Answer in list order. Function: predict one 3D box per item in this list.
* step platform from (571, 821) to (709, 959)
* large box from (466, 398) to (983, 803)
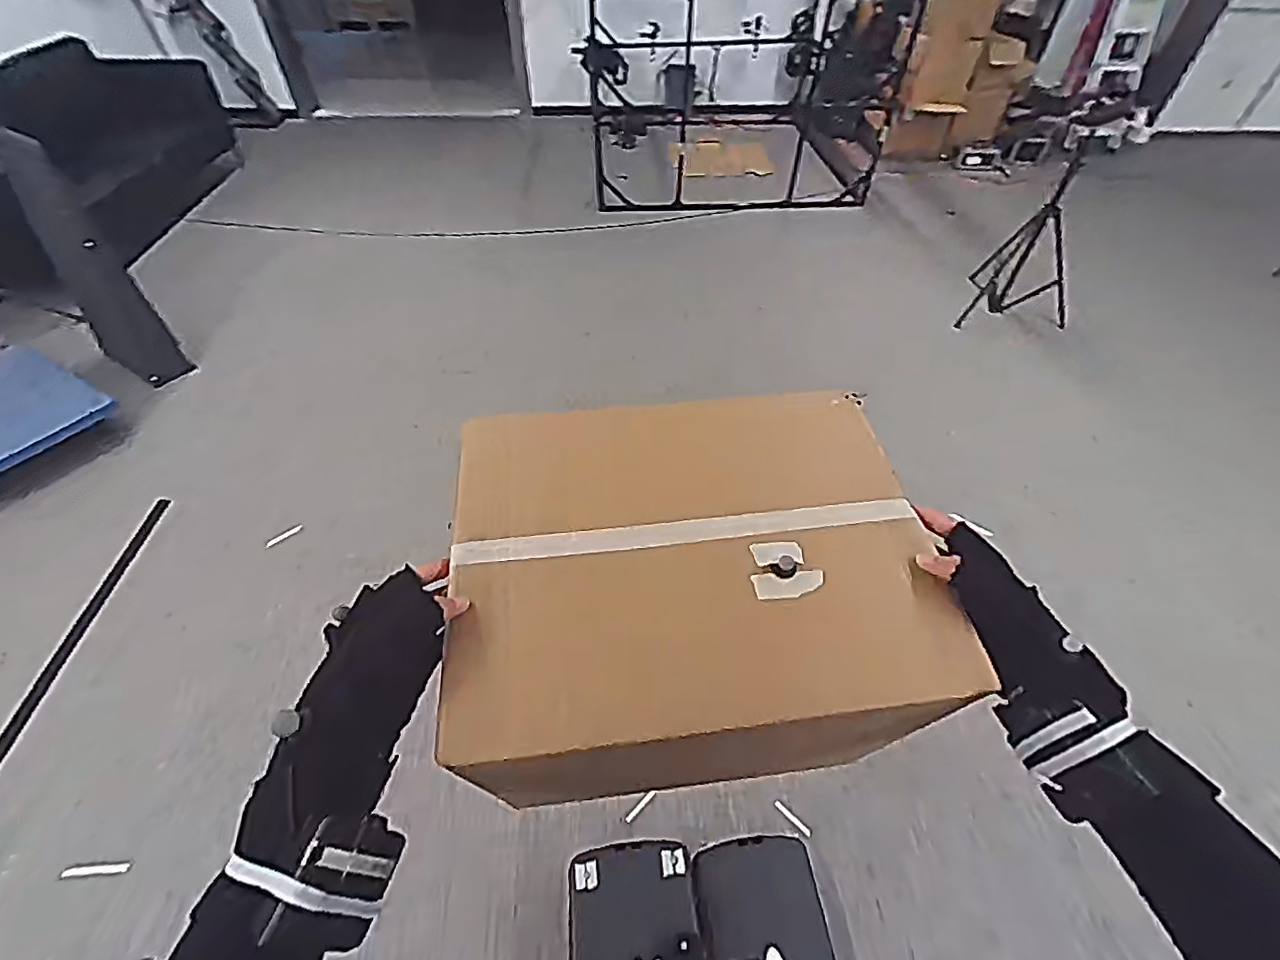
[{"bbox_3d":[0.013,1.107,1.114,0.286,0.204,0.684,-5,47,-5],"label":"step platform"},{"bbox_3d":[0.046,0.138,0.602,0.408,0.320,0.320,-5,55,-6],"label":"large box"}]
